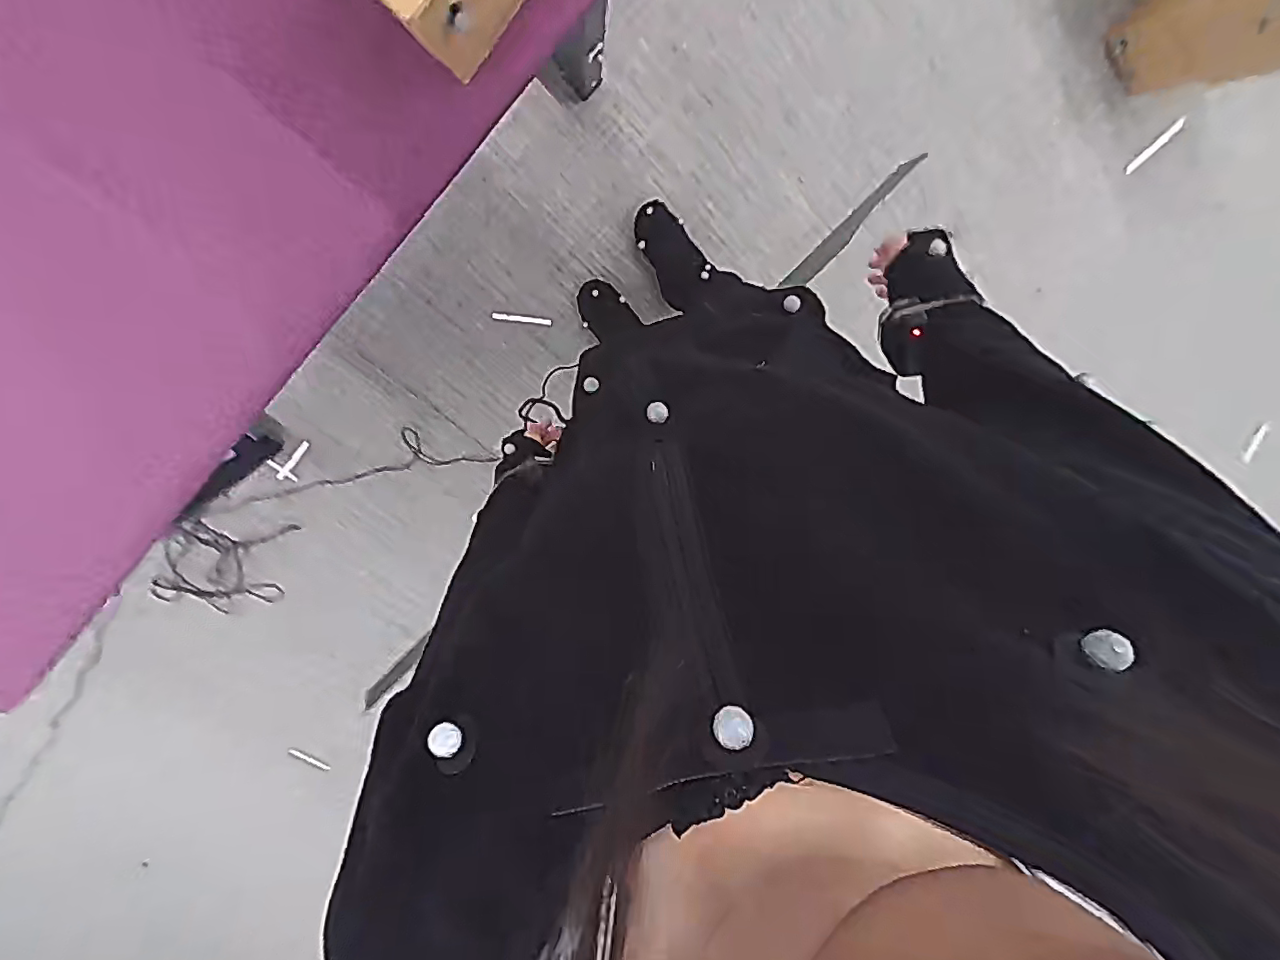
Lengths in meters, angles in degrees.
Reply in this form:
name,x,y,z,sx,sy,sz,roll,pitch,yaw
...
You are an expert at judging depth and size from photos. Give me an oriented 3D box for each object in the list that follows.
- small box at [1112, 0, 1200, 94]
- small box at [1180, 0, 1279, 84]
name,x,y,z,sx,sy,sz,roll,pitch,yaw
small box,1.125,-0.939,1.105,0.168,0.176,0.179,39,104,-21
small box,1.133,-0.856,0.962,0.168,0.176,0.179,-43,112,14
